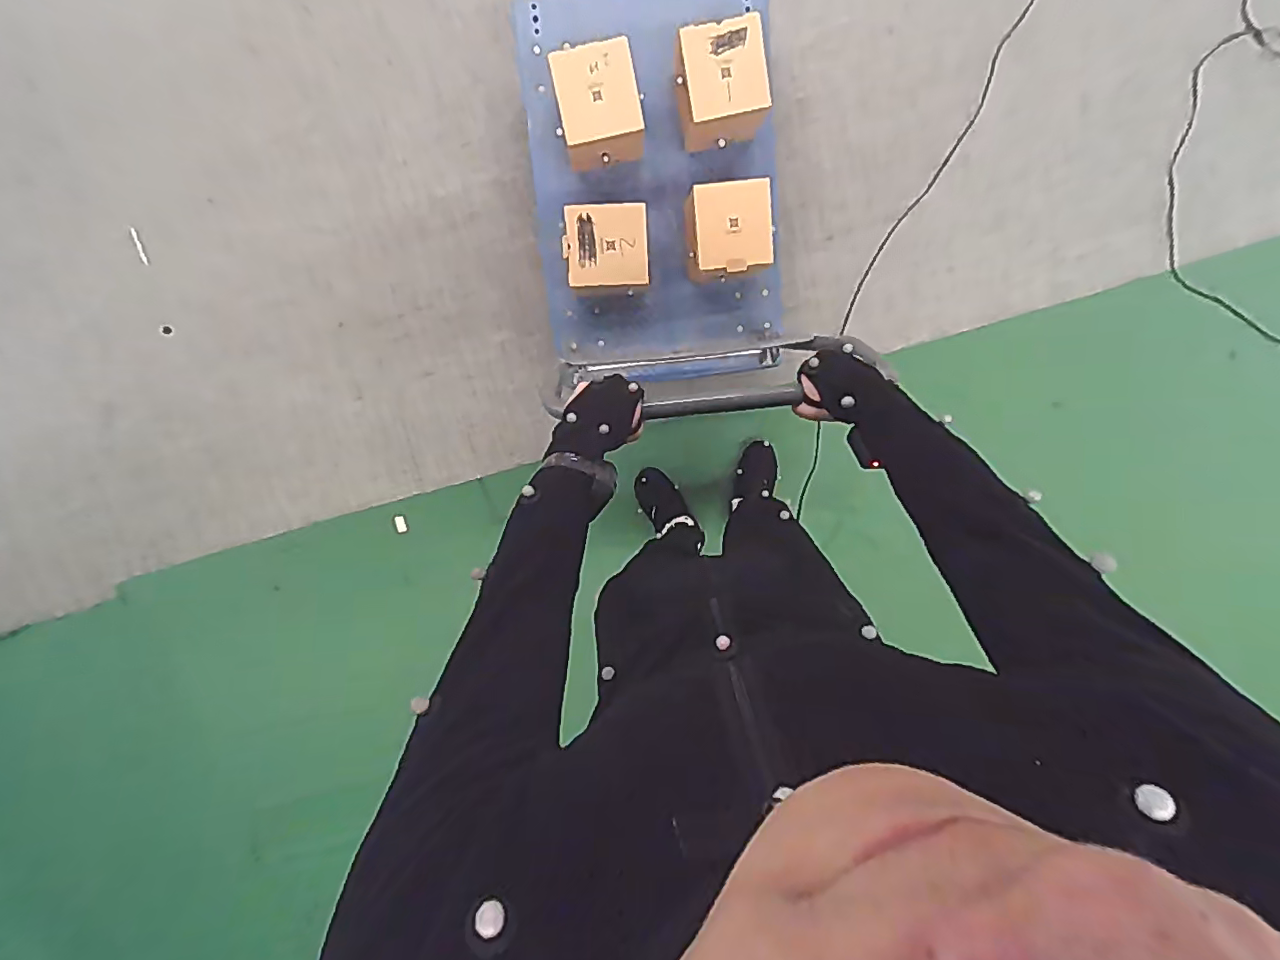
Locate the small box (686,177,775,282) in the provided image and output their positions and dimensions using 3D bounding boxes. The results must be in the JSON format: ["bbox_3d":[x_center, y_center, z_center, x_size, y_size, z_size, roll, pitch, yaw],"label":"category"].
[{"bbox_3d":[0.201,-0.563,1.234,0.168,0.176,0.179,-6,102,0],"label":"small box"}]

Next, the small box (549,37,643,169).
[{"bbox_3d":[-0.090,-0.804,1.176,0.168,0.176,0.179,-12,101,0],"label":"small box"}]

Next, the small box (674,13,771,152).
[{"bbox_3d":[0.173,-0.852,1.174,0.168,0.176,0.179,-11,102,1],"label":"small box"}]
